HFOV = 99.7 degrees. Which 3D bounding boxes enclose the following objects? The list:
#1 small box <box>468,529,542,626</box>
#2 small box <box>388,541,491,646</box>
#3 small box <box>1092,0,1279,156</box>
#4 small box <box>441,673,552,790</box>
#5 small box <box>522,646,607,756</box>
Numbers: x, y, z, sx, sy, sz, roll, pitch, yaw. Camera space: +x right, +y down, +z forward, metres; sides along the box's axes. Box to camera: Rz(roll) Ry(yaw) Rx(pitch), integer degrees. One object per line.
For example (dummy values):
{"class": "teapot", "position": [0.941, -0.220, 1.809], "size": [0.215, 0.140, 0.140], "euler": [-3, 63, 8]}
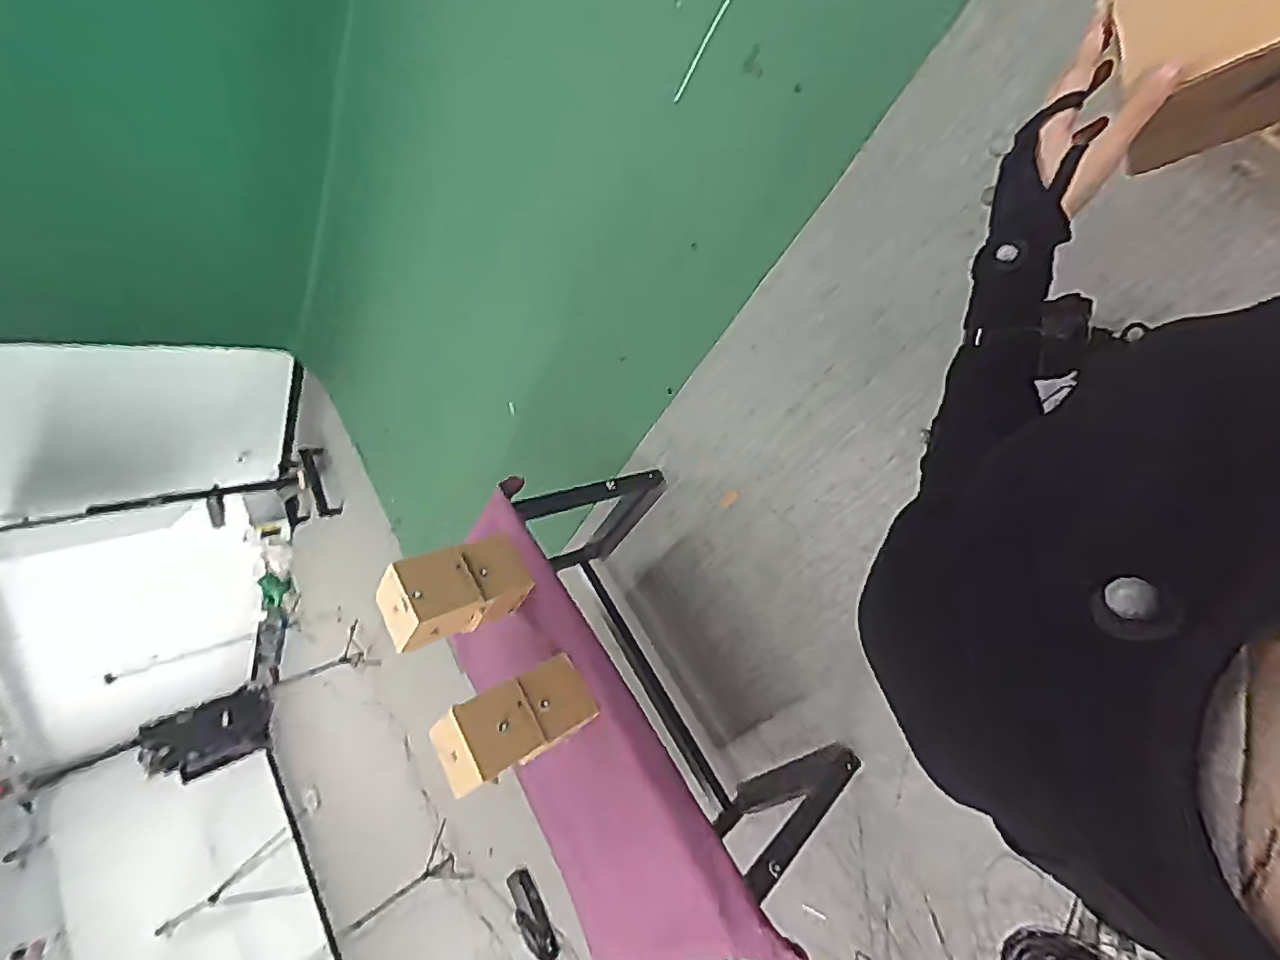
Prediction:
{"class": "small box", "position": [-0.392, 0.257, 1.463], "size": [0.179, 0.176, 0.168], "euler": [54, 130, 21]}
{"class": "small box", "position": [-0.494, 0.275, 1.334], "size": [0.168, 0.176, 0.179], "euler": [55, 131, 18]}
{"class": "small box", "position": [0.416, -0.354, 0.355], "size": [0.179, 0.176, 0.168], "euler": [-10, 92, 45]}
{"class": "small box", "position": [-0.326, 0.572, 1.245], "size": [0.179, 0.176, 0.168], "euler": [-47, 67, 40]}
{"class": "small box", "position": [-0.213, 0.552, 1.362], "size": [0.179, 0.176, 0.168], "euler": [56, 132, 19]}
